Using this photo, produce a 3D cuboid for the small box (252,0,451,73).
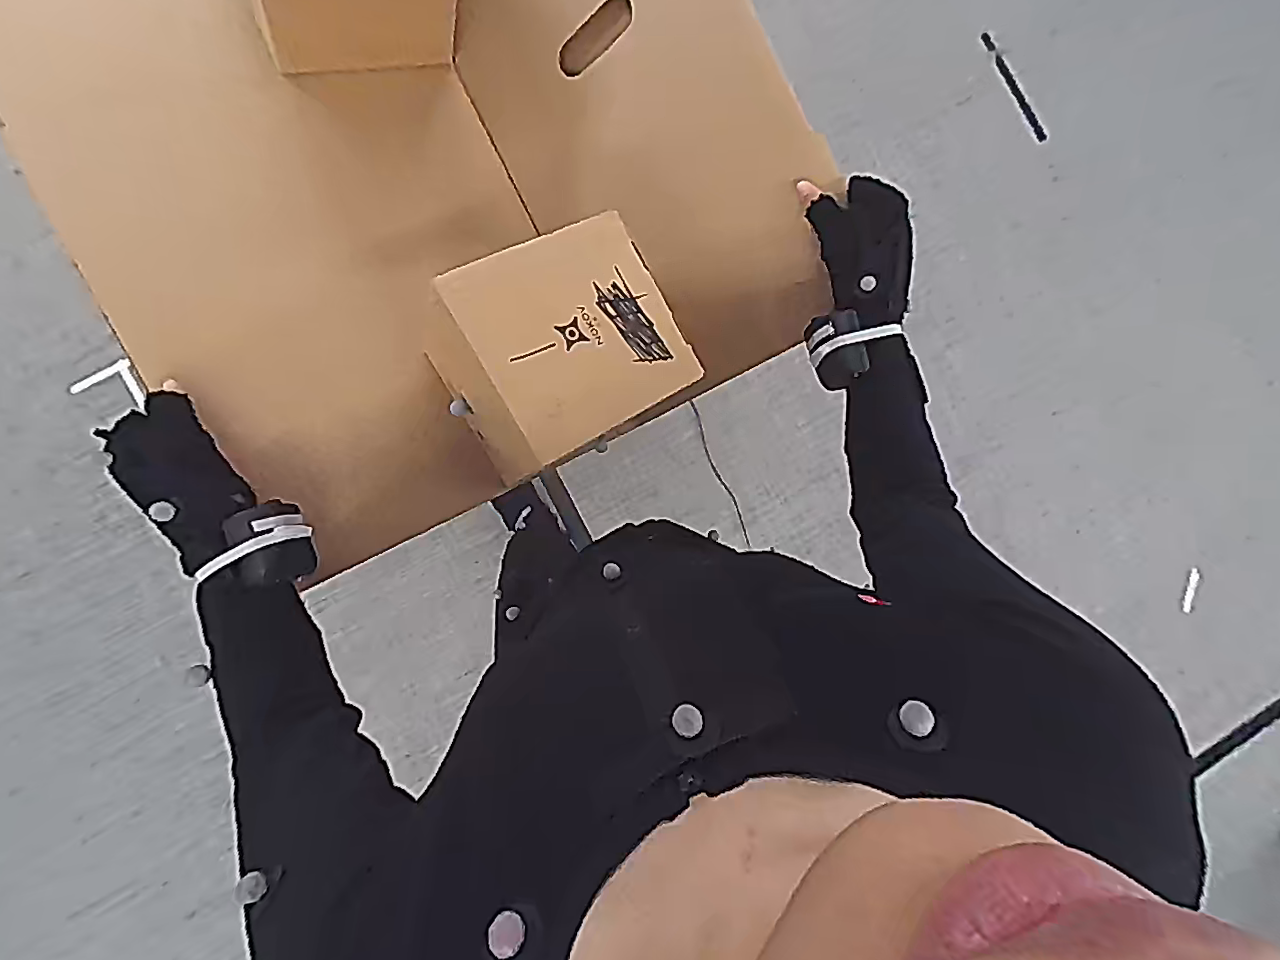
[{"bbox_3d":[-0.282,-0.513,0.495,0.179,0.176,0.168,-23,92,-25],"label":"small box"}]
